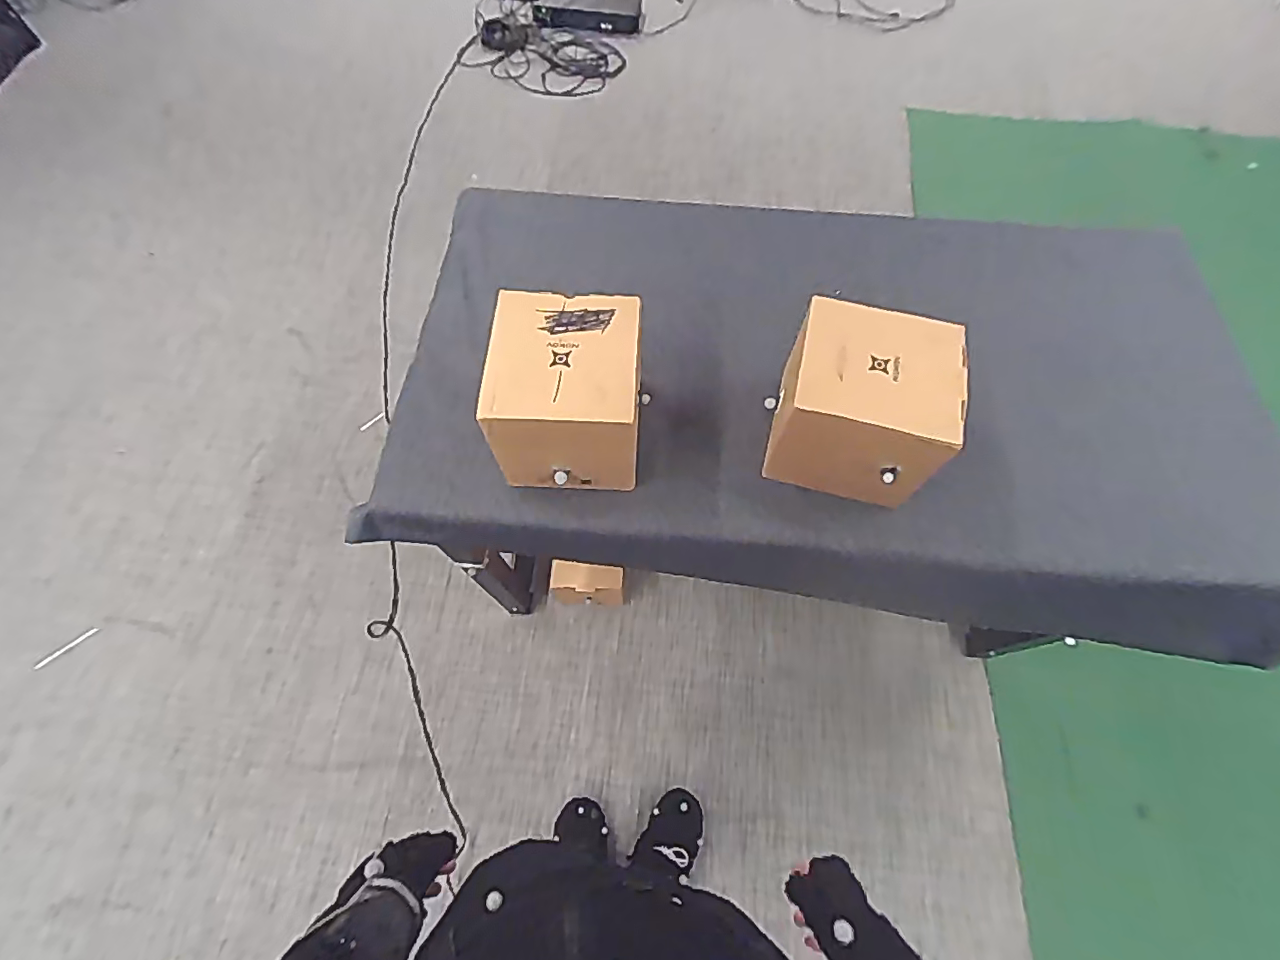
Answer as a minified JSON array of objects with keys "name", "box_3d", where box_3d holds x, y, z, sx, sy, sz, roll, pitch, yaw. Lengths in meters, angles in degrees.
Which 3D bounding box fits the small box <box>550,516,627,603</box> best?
[{"name":"small box","box_3d":[-0.119,0.201,1.331,0.168,0.176,0.179,2,65,1]}]

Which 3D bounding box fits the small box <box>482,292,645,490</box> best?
[{"name":"small box","box_3d":[-0.081,-0.104,0.666,0.168,0.176,0.179,2,64,0]}]

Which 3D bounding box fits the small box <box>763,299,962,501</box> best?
[{"name":"small box","box_3d":[0.265,-0.090,0.667,0.179,0.176,0.168,13,64,7]}]
